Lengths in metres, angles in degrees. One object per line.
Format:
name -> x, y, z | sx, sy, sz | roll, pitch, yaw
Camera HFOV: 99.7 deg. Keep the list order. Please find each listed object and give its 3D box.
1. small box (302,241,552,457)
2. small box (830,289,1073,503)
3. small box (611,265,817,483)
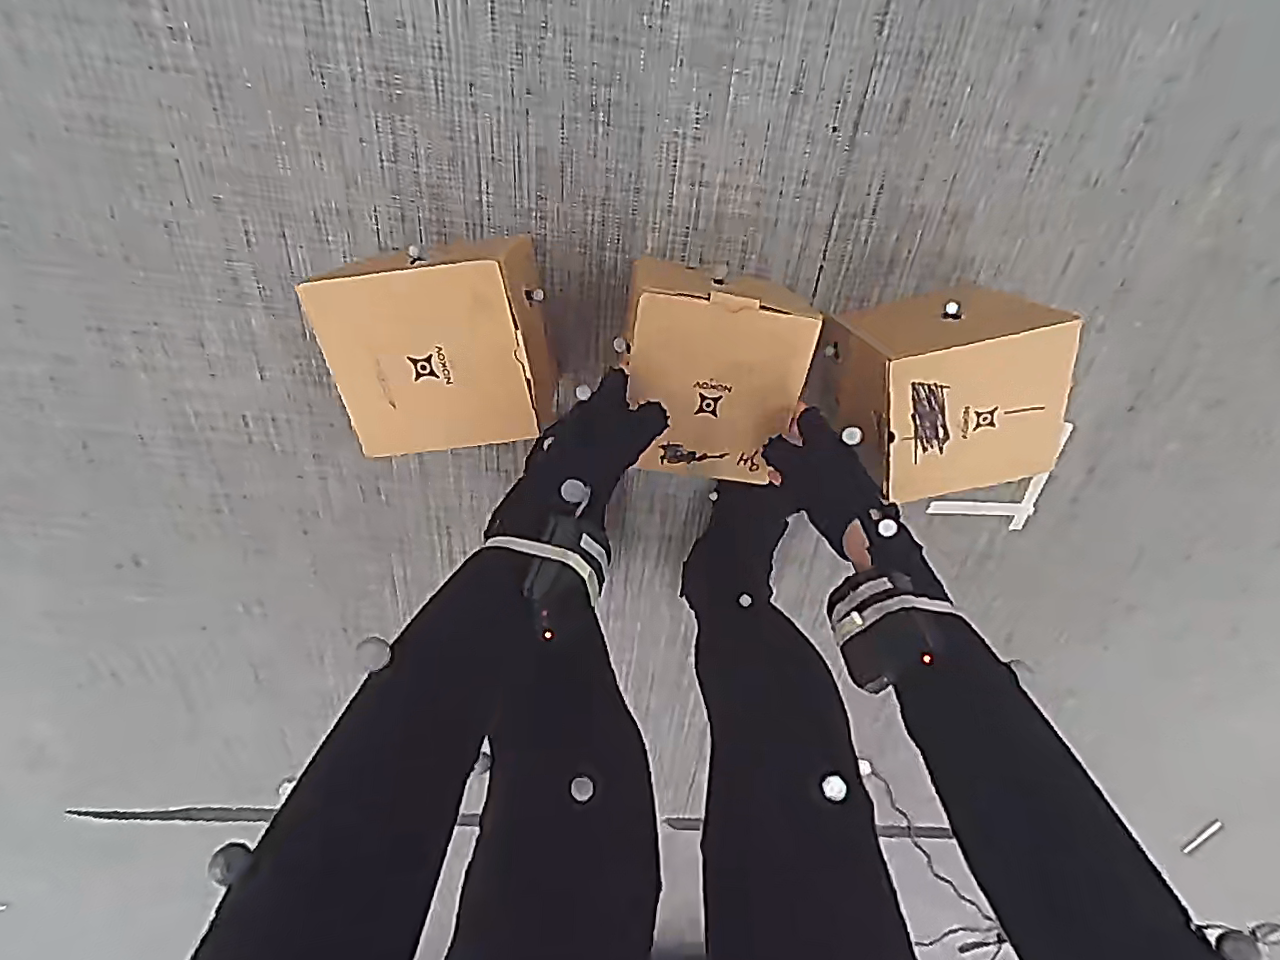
small box -> -0.193, -0.142, 0.558 | 0.179, 0.176, 0.168 | -6, 120, 3
small box -> 0.321, -0.100, 0.603 | 0.179, 0.176, 0.168 | -12, 120, 4
small box -> 0.061, -0.120, 0.580 | 0.168, 0.176, 0.179 | 8, 119, -6
